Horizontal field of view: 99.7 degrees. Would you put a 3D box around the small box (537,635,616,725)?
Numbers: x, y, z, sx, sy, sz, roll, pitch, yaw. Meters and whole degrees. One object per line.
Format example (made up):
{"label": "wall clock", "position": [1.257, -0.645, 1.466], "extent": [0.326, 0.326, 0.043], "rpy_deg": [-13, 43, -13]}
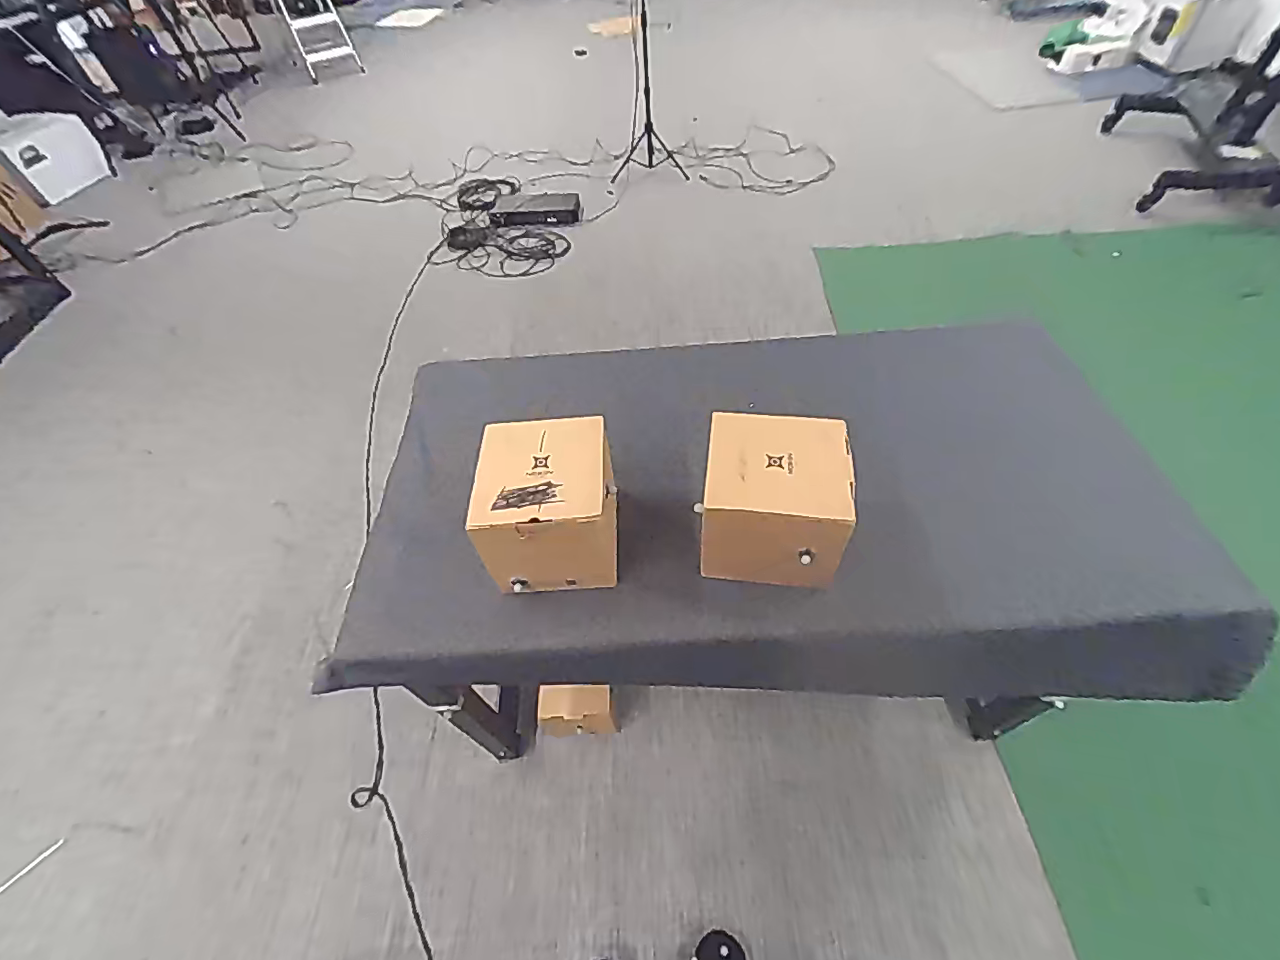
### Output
{"label": "small box", "position": [-0.148, 0.496, 1.329], "extent": [0.168, 0.176, 0.179], "rpy_deg": [-3, 53, 2]}

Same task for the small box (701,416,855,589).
{"label": "small box", "position": [0.179, 0.034, 0.740], "extent": [0.179, 0.176, 0.168], "rpy_deg": [5, 51, 9]}

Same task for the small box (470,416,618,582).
{"label": "small box", "position": [-0.119, 0.034, 0.758], "extent": [0.168, 0.176, 0.179], "rpy_deg": [-3, 50, 2]}
